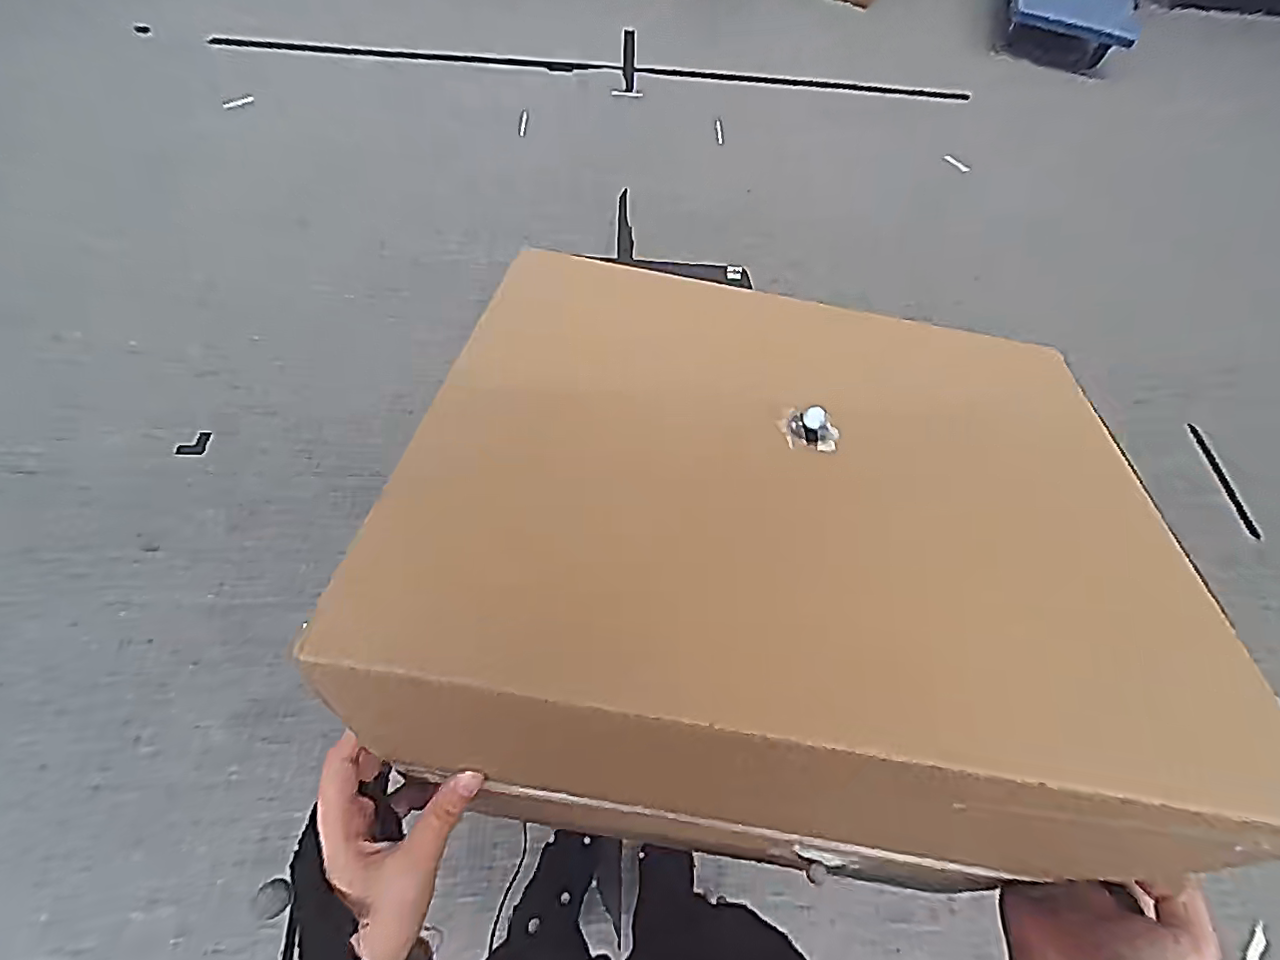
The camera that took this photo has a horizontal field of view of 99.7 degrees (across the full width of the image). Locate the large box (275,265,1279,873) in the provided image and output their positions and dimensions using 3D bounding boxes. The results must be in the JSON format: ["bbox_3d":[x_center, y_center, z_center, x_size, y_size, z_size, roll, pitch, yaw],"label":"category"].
[{"bbox_3d":[0.058,0.074,0.409,0.408,0.320,0.320,8,51,-1],"label":"large box"}]

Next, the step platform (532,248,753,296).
[{"bbox_3d":[-0.003,-0.497,1.627,0.684,0.204,0.286,7,63,-2],"label":"step platform"}]
